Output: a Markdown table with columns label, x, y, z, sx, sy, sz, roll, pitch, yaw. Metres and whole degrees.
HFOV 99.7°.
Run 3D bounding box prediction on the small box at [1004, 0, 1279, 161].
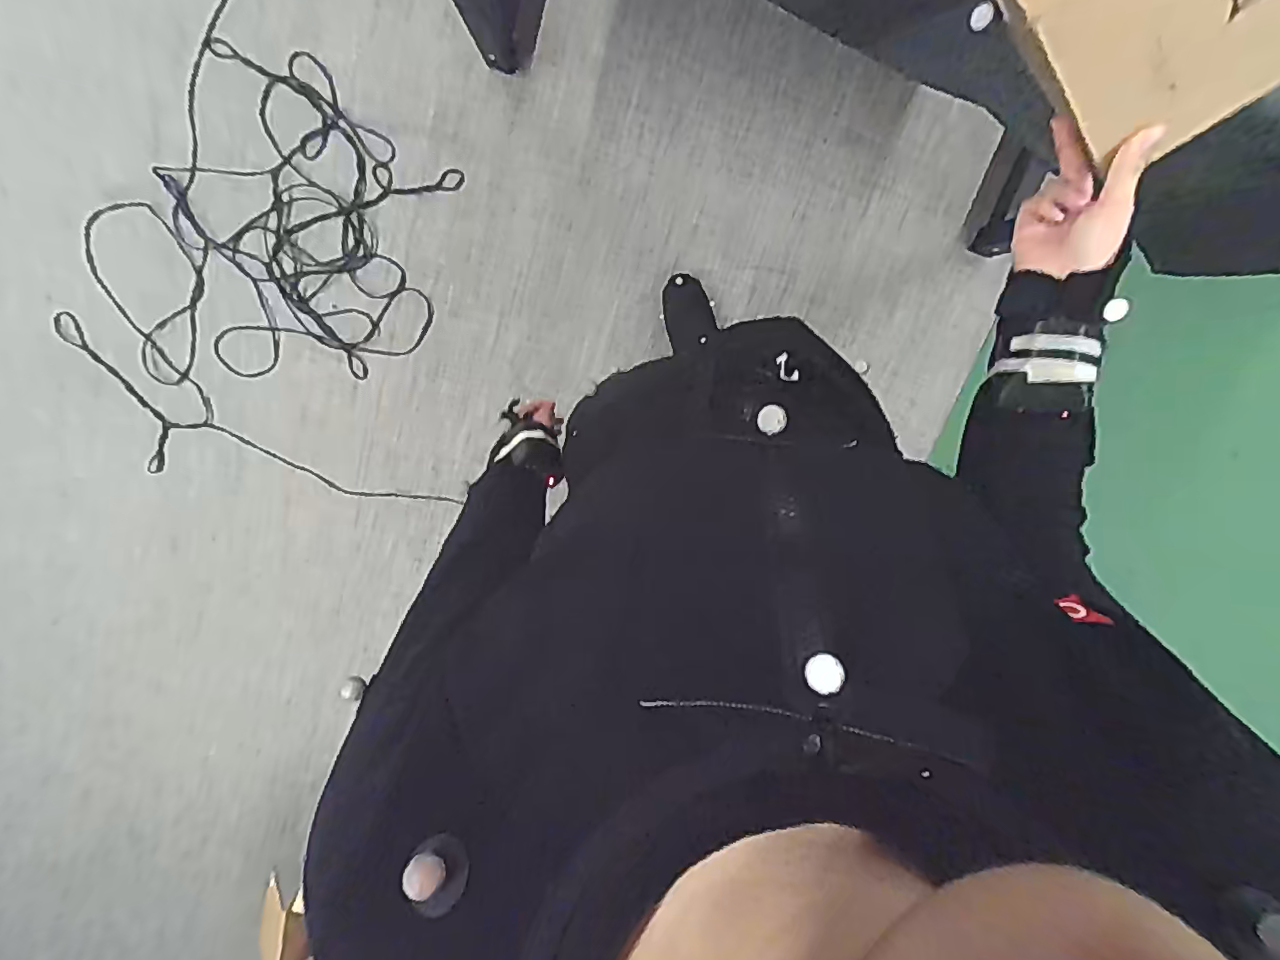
| label | x | y | z | sx | sy | sz | roll | pitch | yaw |
| --- | --- | --- | --- | --- | --- | --- | --- | --- | --- |
| small box | 0.329 | -0.352 | 0.320 | 0.168 | 0.176 | 0.179 | 18 | 147 | -34 |
